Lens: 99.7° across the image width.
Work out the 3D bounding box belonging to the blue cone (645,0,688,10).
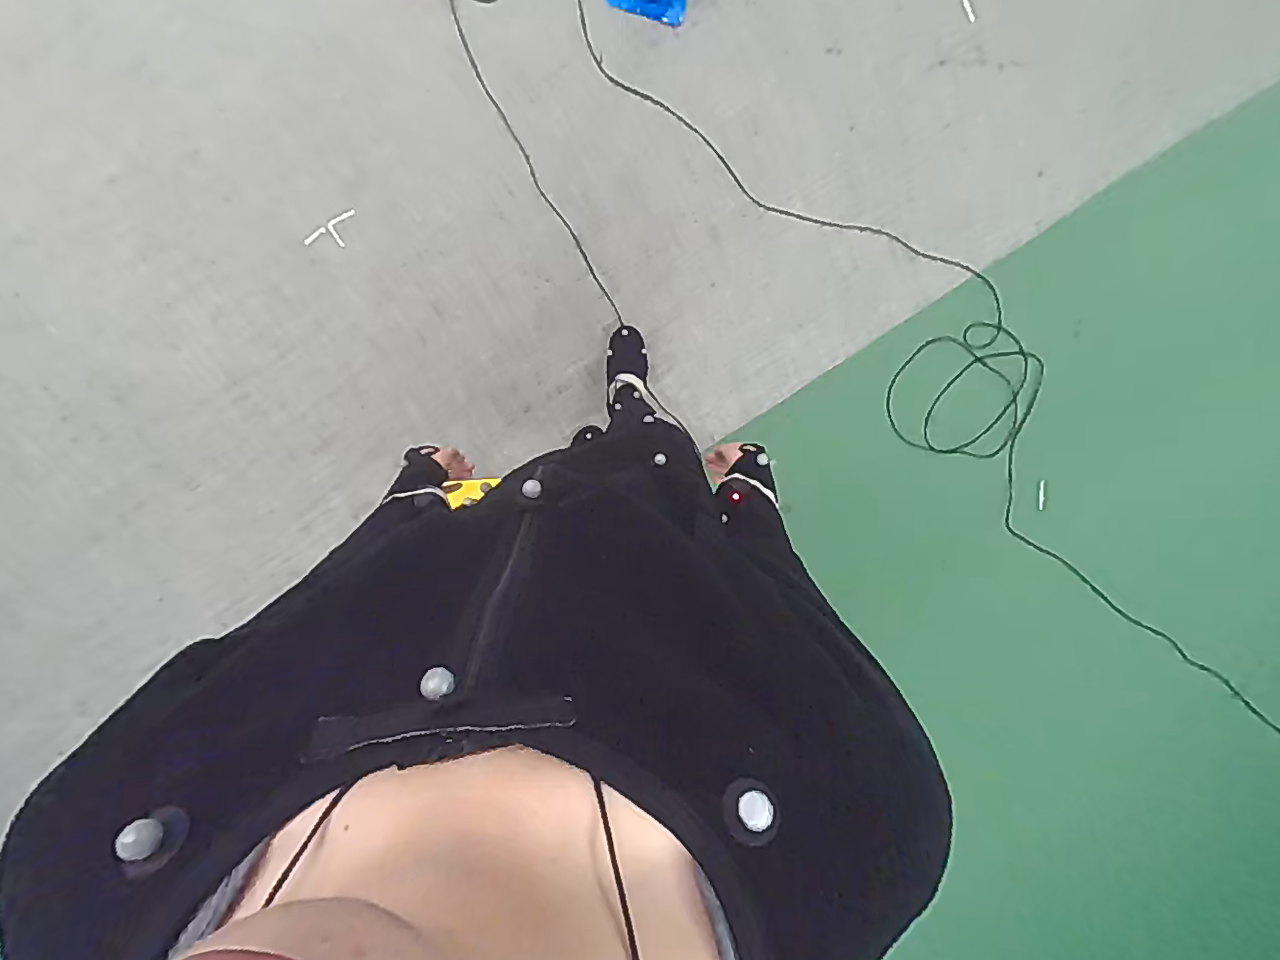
[{"bbox_3d":[0.056,-1.236,1.141,0.192,0.380,0.193,12,95,-6],"label":"blue cone"}]
